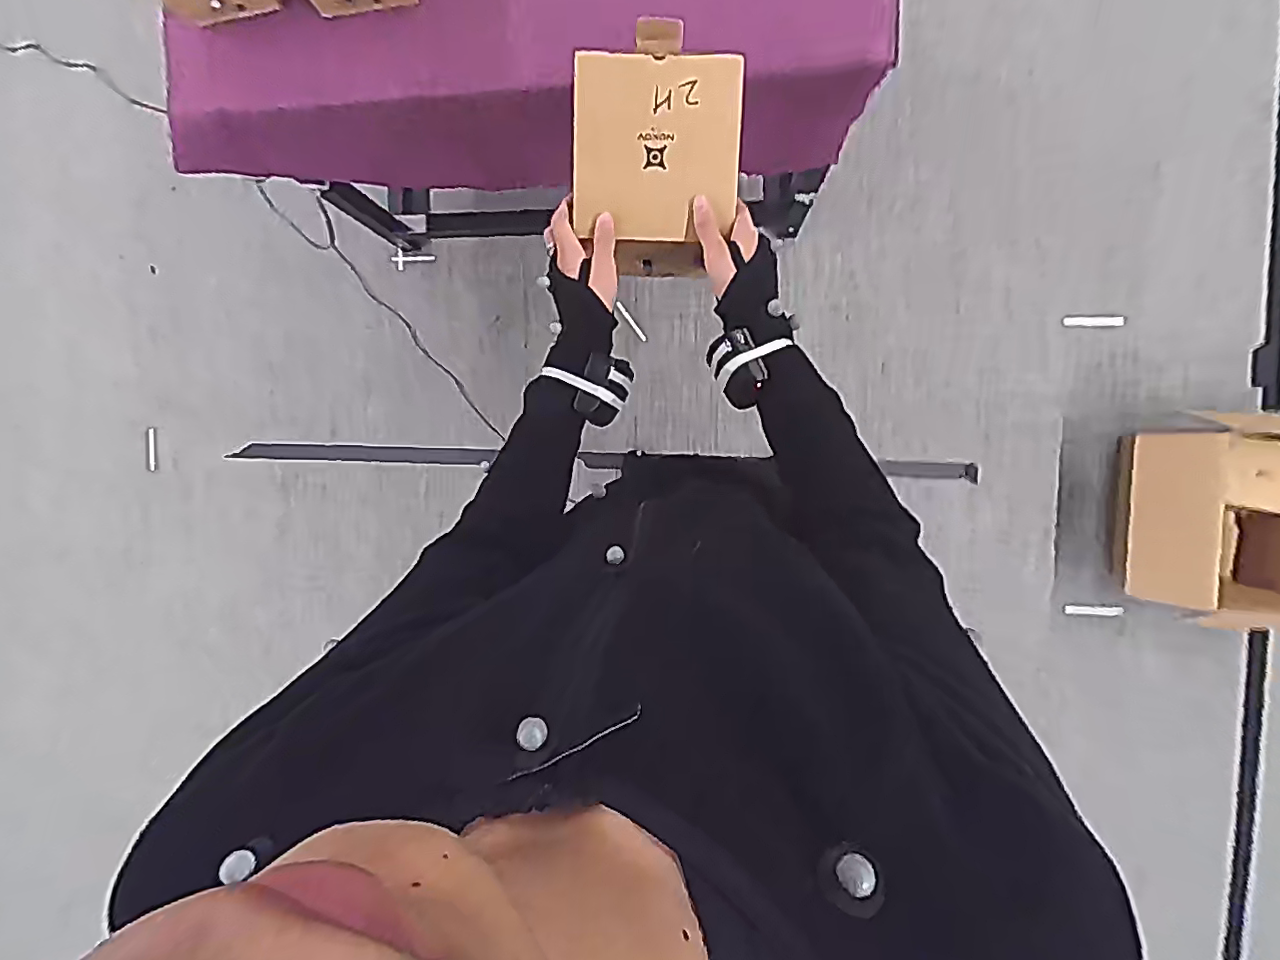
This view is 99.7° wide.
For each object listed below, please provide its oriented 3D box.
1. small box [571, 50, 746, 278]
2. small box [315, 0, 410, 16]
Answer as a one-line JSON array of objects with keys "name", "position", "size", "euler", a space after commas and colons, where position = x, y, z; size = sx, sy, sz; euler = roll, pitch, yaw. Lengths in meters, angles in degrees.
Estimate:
[{"name": "small box", "position": [0.018, -0.332, 0.605], "size": [0.168, 0.176, 0.179], "euler": [2, 98, 1]}, {"name": "small box", "position": [-0.456, -0.841, 0.791], "size": [0.168, 0.176, 0.179], "euler": [-4, 94, 6]}]
